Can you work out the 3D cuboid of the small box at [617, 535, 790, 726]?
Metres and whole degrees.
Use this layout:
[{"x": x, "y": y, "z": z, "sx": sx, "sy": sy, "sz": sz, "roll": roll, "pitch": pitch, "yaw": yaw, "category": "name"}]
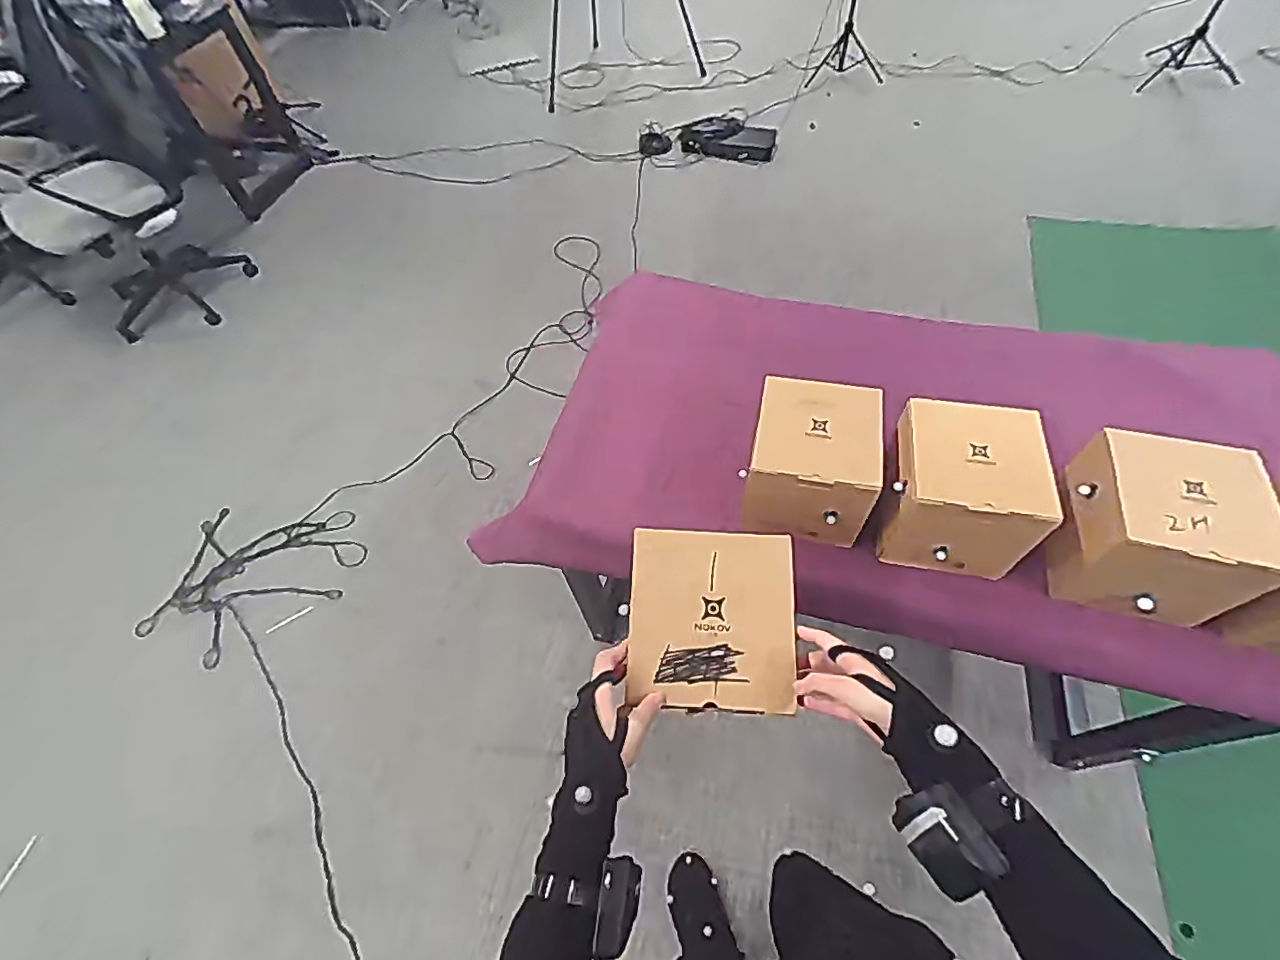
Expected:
[{"x": 0.068, "y": 0.168, "z": 0.609, "sx": 0.168, "sy": 0.176, "sz": 0.179, "roll": 3, "pitch": 71, "yaw": 3, "category": "small box"}]
